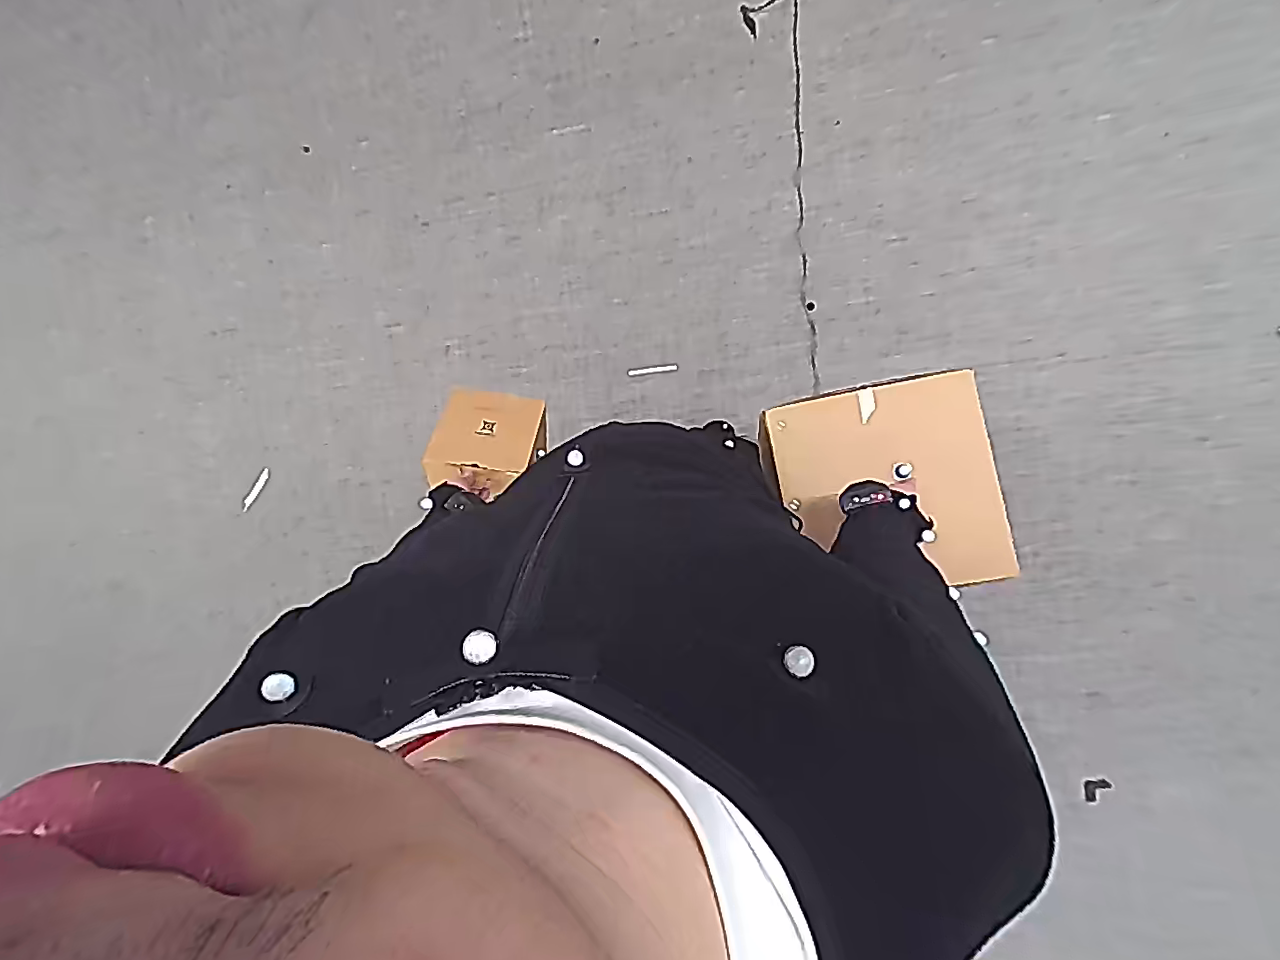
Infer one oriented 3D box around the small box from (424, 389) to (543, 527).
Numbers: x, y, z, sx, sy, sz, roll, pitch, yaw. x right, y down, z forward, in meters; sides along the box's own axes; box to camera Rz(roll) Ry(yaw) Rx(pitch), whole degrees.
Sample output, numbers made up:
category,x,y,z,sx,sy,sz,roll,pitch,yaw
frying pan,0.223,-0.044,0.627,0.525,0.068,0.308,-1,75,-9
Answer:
category,x,y,z,sx,sy,sz,roll,pitch,yaw
small box,-0.272,-0.035,0.984,0.168,0.179,0.176,9,141,-4
